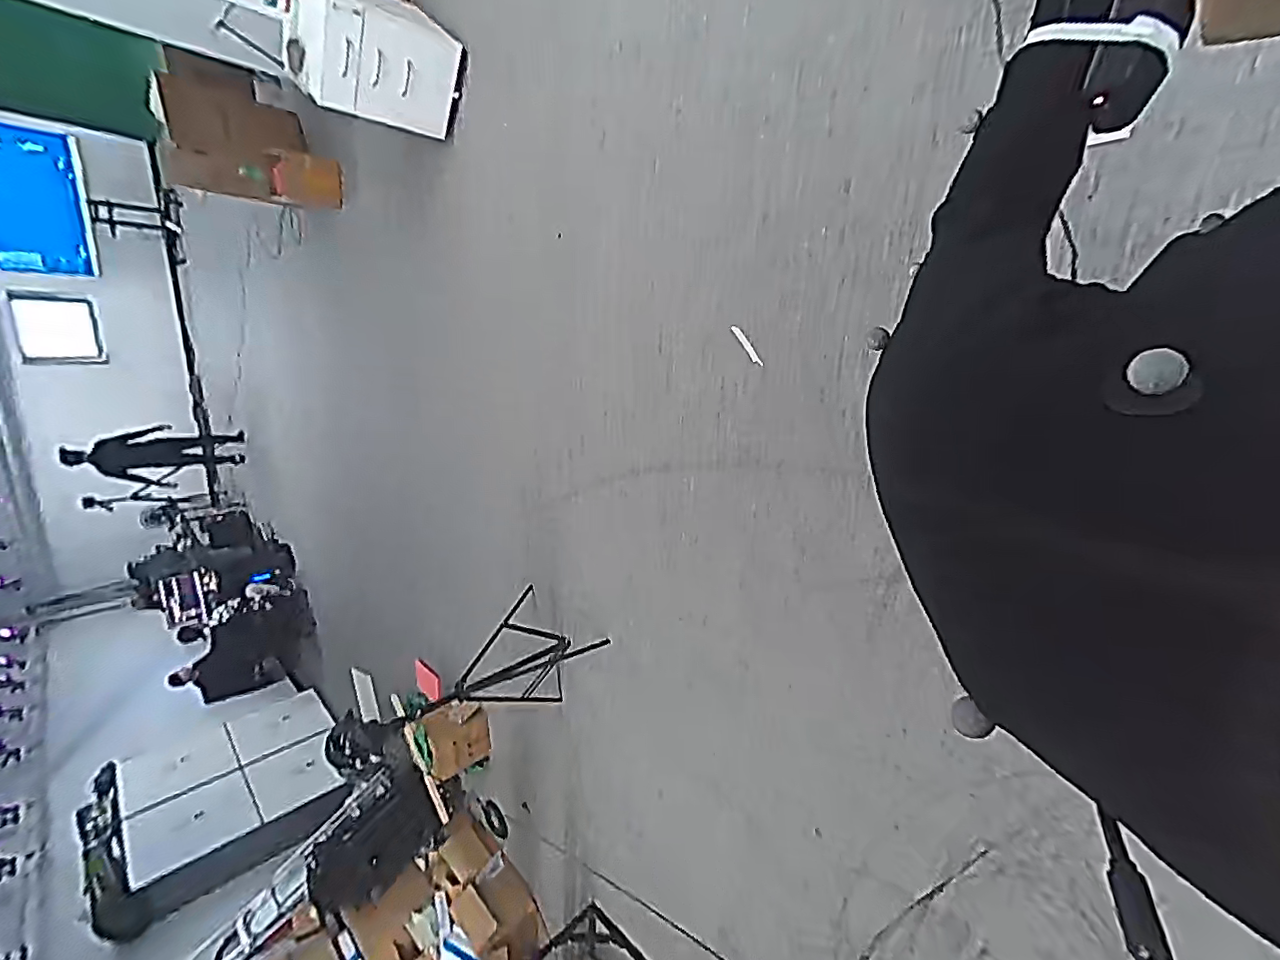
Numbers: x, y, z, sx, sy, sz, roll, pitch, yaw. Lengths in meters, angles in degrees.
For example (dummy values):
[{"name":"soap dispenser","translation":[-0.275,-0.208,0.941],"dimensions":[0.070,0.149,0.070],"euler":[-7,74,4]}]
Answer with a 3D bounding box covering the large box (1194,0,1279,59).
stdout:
[{"name":"large box","translation":[0.595,-0.464,0.260],"dimensions":[0.408,0.320,0.320],"euler":[21,122,39]}]
